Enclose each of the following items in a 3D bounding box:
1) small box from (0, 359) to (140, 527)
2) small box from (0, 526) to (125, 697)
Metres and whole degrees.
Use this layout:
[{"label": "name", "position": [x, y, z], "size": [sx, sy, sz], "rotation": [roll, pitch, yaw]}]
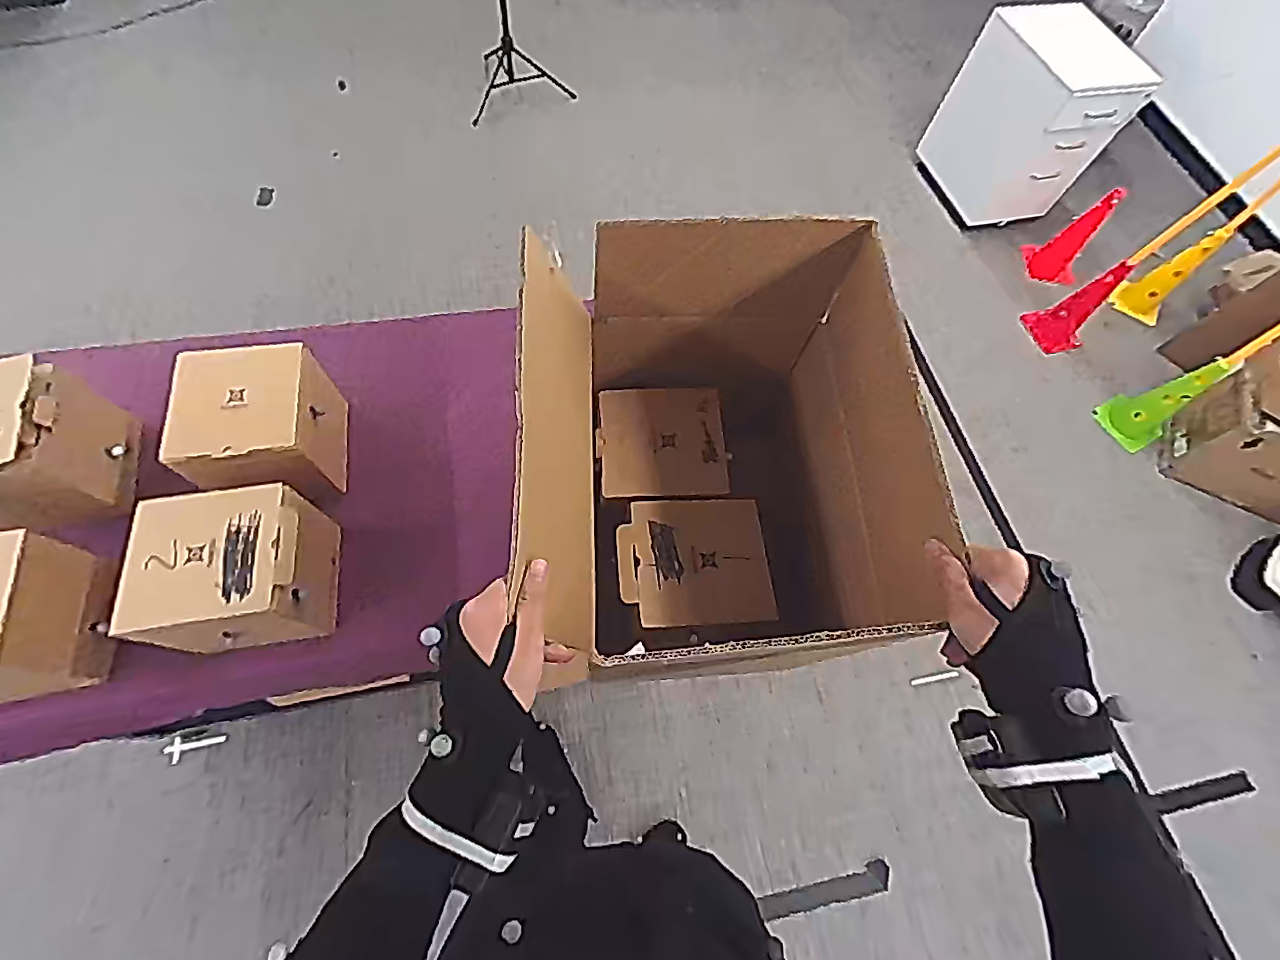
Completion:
[{"label": "small box", "position": [-0.866, -0.044, 0.755], "size": [0.179, 0.176, 0.168], "rotation": [-10, 68, -12]}, {"label": "small box", "position": [-0.804, 0.172, 0.664], "size": [0.179, 0.176, 0.168], "rotation": [-8, 67, -11]}]
